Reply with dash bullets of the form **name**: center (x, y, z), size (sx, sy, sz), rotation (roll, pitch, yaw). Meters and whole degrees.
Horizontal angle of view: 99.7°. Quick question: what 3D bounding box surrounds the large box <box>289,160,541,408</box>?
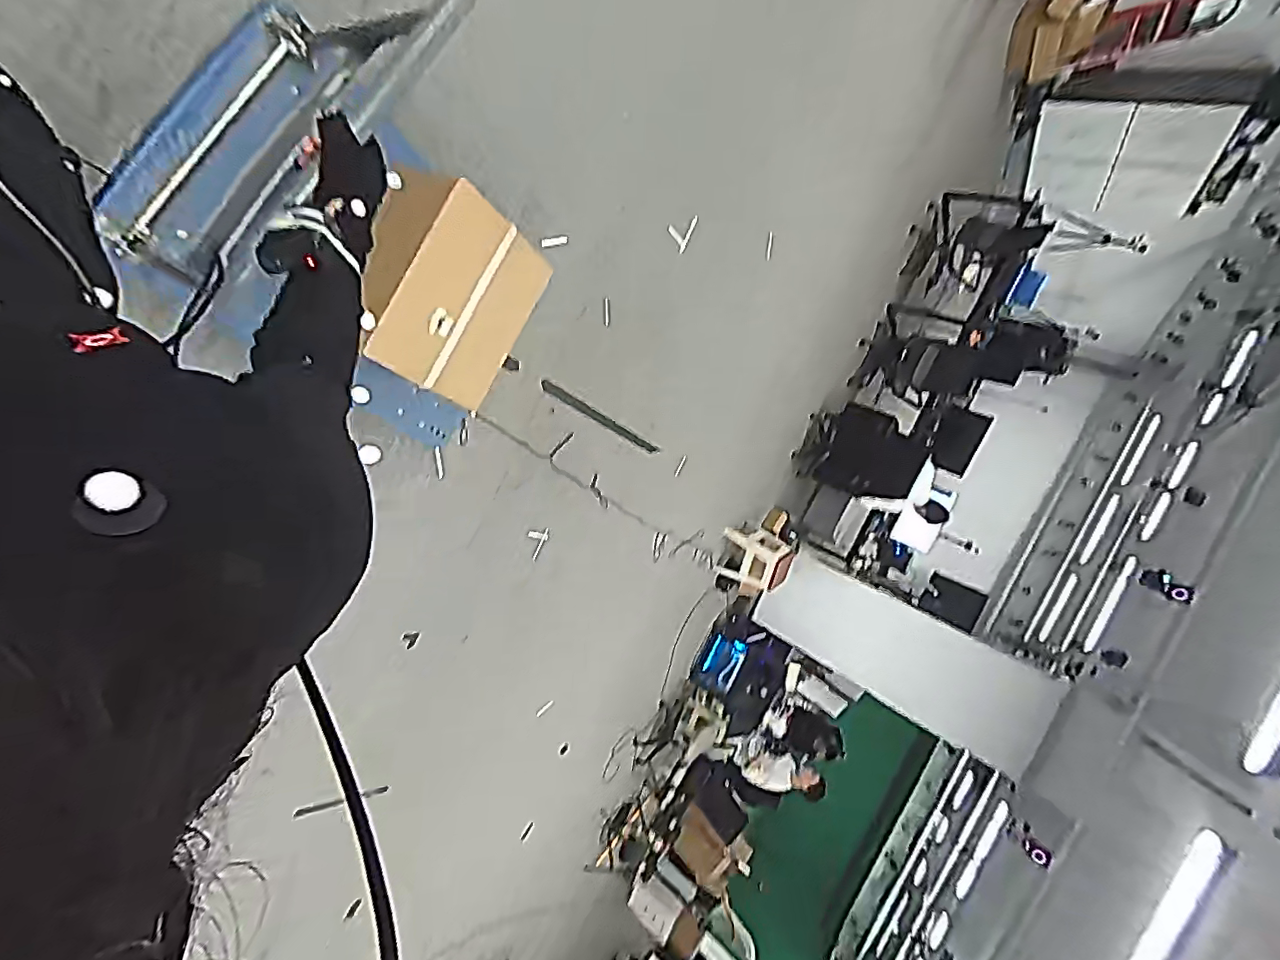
- **large box**: center (-0.508, -0.444, 1.250), size (0.408, 0.320, 0.320), rotation (-61, 148, -2)
